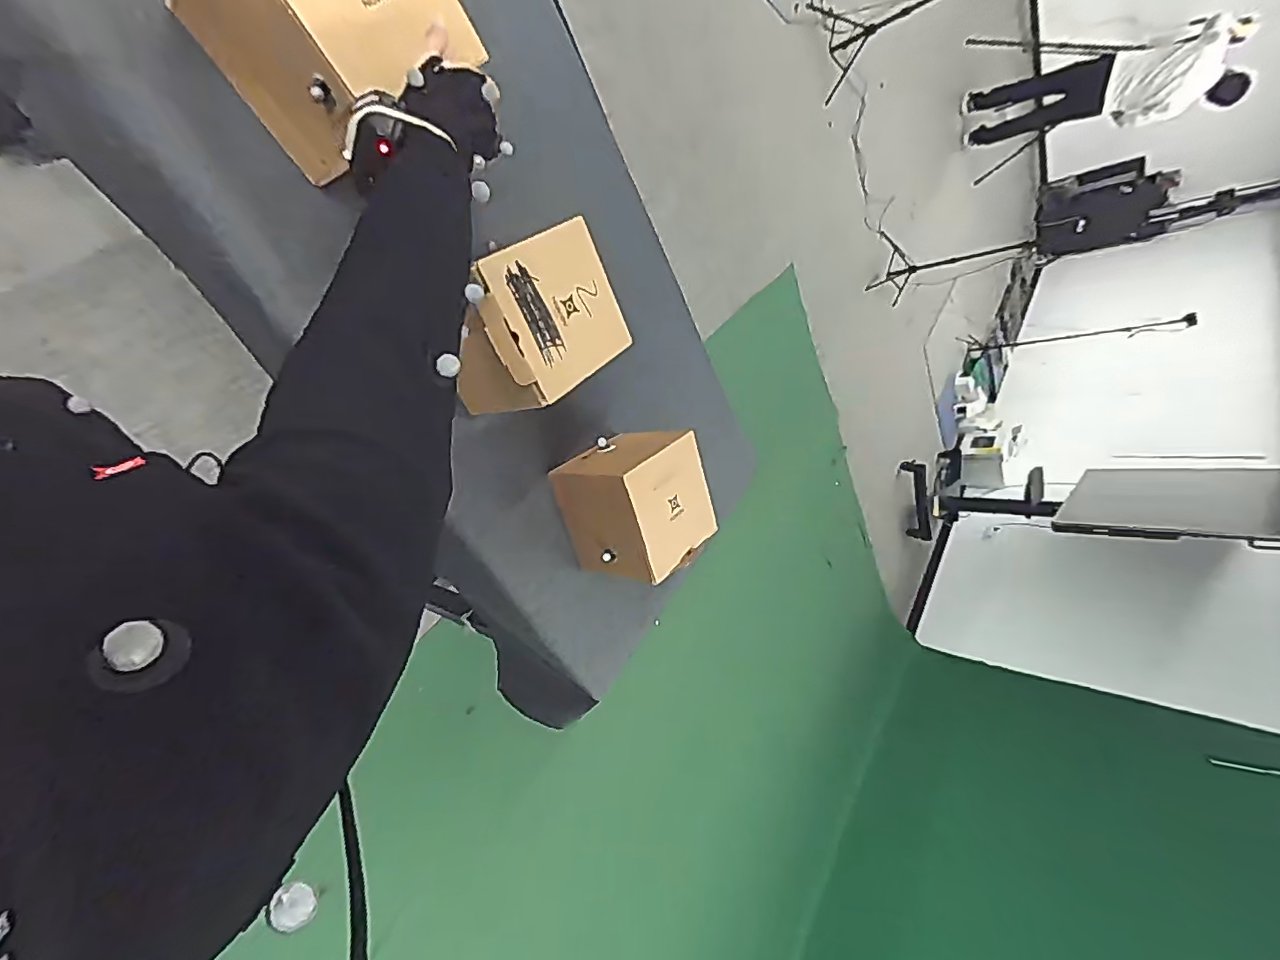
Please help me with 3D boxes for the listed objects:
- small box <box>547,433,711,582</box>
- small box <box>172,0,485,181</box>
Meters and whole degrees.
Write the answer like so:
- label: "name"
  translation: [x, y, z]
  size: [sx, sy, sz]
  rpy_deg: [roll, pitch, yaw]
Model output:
- label: "small box"
  translation: [-0.016, 0.034, 0.851]
  size: [0.168, 0.176, 0.179]
  rpy_deg: [-34, 115, -41]
- label: "small box"
  translation: [-0.296, -0.431, 0.522]
  size: [0.168, 0.176, 0.179]
  rpy_deg: [-56, 130, -29]
